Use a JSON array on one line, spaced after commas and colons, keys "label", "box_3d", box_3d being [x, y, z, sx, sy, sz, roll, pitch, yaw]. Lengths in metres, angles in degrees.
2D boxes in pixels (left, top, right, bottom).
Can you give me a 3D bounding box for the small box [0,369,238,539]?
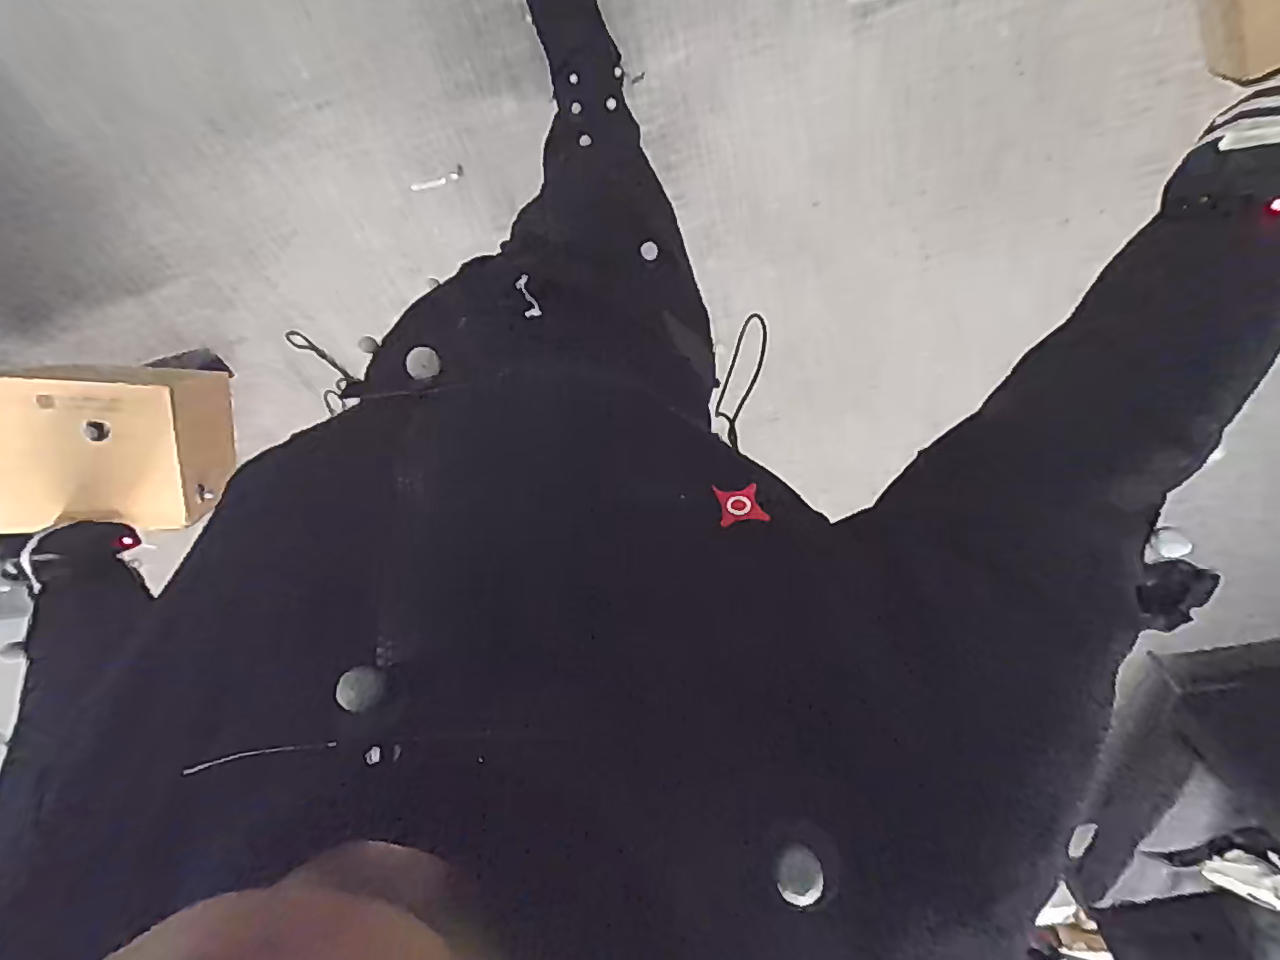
[{"label": "small box", "box_3d": [-0.609, -0.040, 0.646, 0.168, 0.179, 0.176, 0, 106, -20]}]
